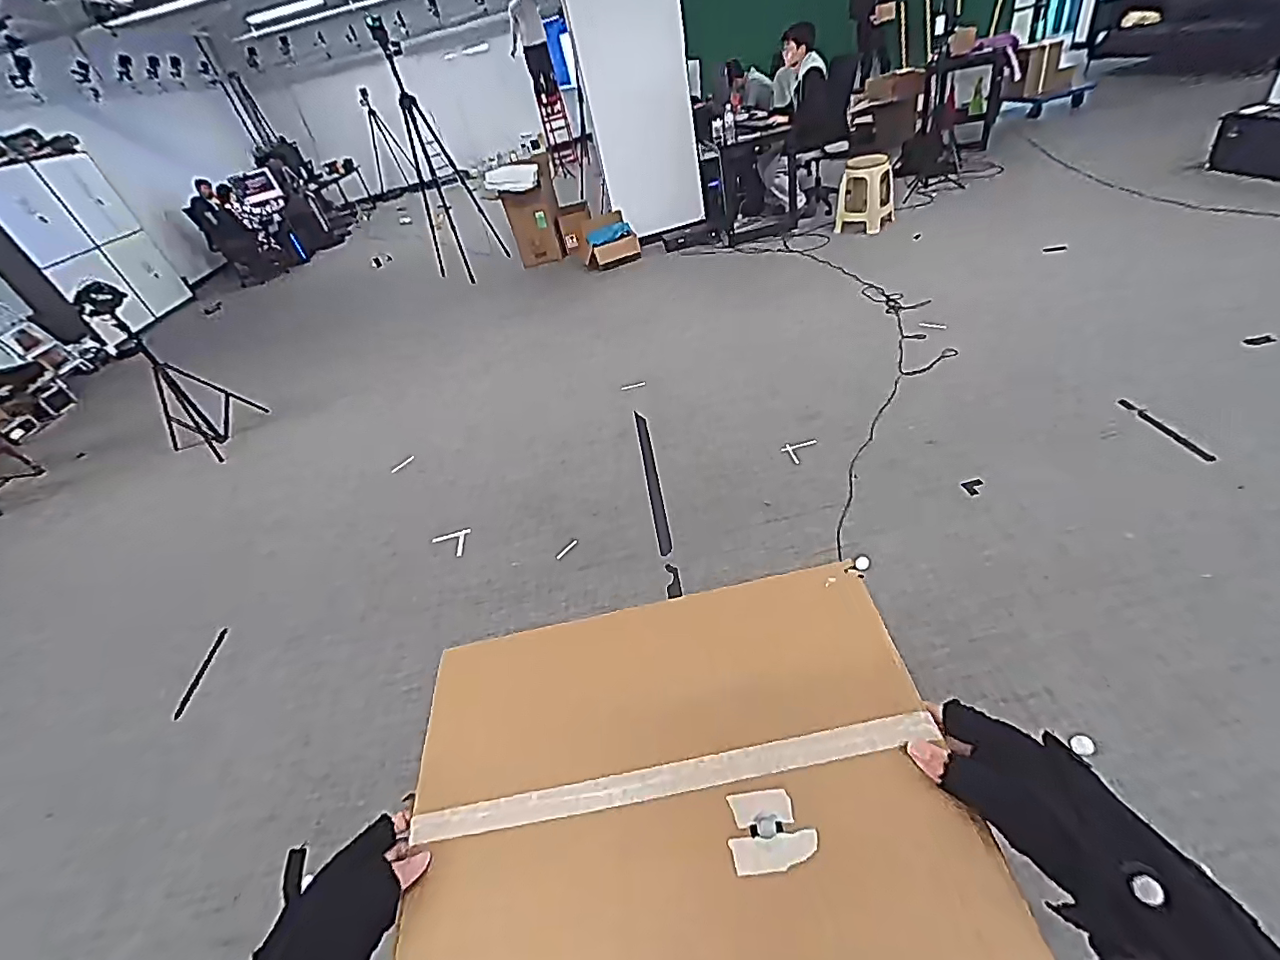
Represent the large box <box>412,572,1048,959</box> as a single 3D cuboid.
[{"bbox_3d":[0.055,0.341,0.518,0.408,0.320,0.320,-13,44,3],"label":"large box"}]
